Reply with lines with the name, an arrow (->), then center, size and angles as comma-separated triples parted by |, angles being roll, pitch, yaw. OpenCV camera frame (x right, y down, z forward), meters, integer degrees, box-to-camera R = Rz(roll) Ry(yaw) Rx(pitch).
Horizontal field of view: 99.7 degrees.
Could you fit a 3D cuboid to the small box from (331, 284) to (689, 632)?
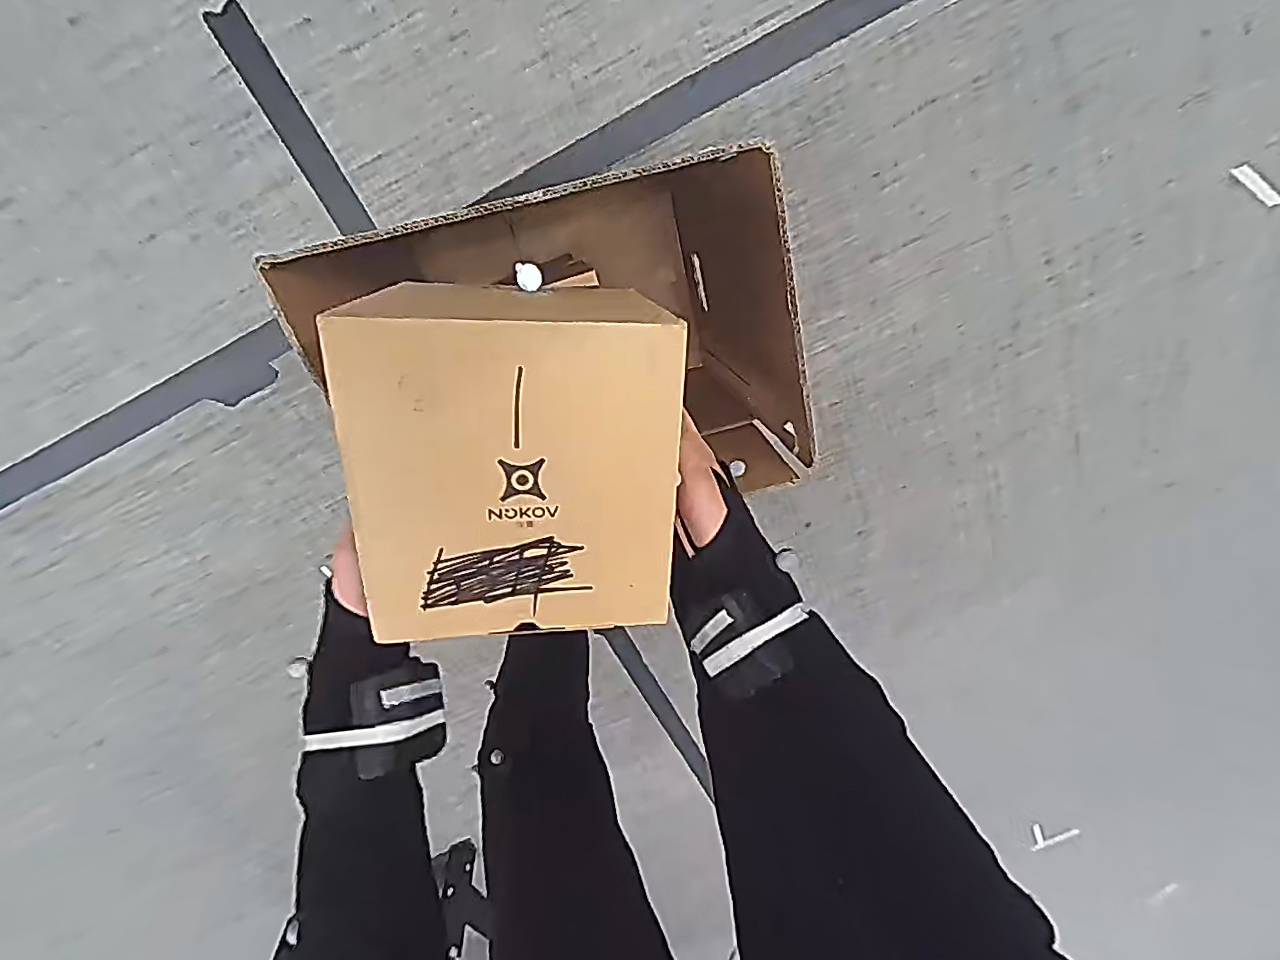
small box -> -0.074, -0.026, 0.356 | 0.168, 0.176, 0.179 | -1, 114, -10
